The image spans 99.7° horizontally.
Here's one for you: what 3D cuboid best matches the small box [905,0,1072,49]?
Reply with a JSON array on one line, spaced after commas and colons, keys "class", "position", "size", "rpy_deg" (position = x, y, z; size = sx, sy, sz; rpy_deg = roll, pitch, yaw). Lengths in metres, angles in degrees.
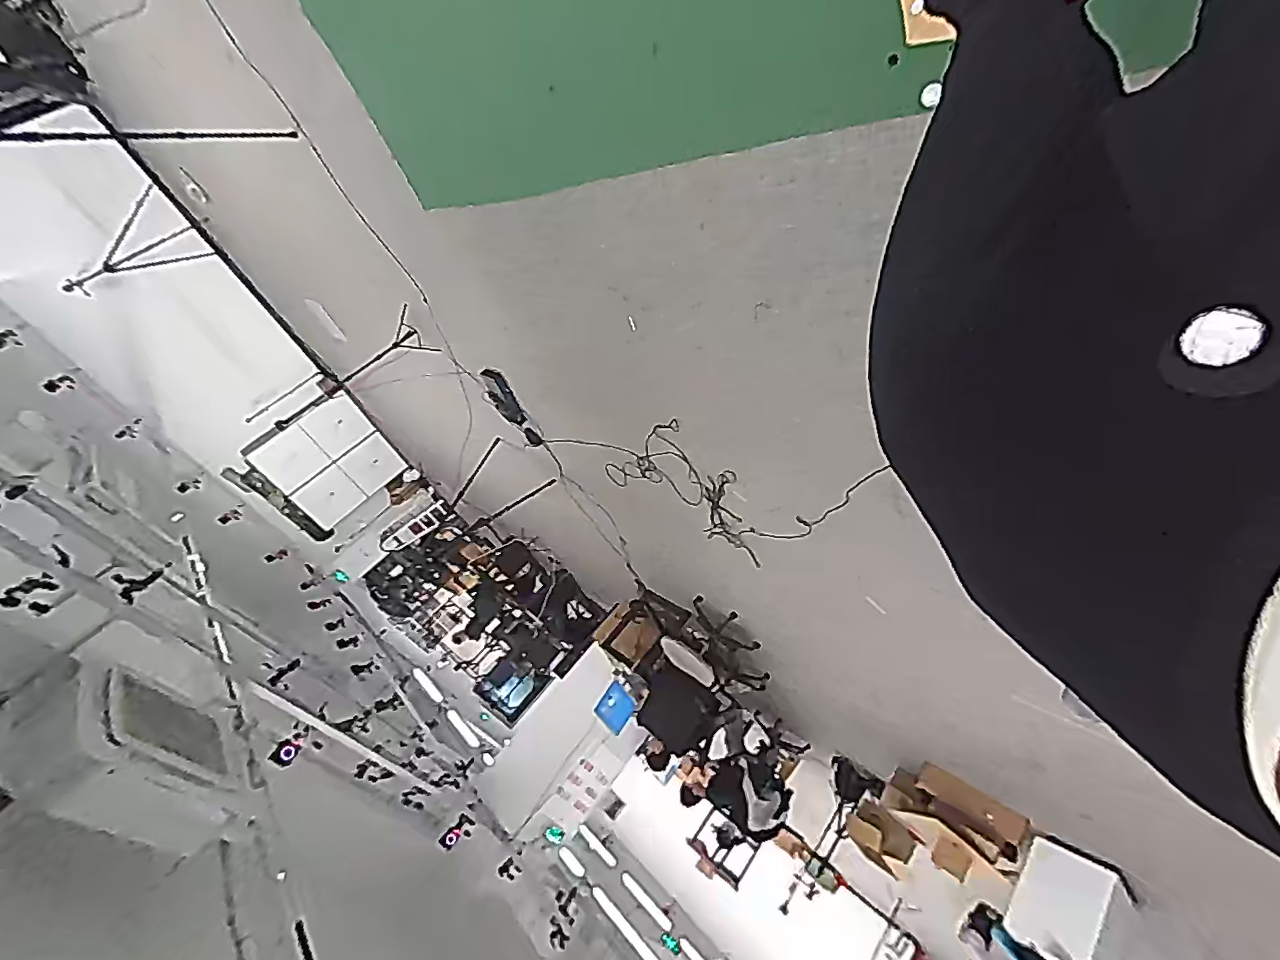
[{"class": "small box", "position": [0.381, -0.608, 0.563], "size": [0.168, 0.179, 0.176], "rpy_deg": [18, -177, 33]}]
